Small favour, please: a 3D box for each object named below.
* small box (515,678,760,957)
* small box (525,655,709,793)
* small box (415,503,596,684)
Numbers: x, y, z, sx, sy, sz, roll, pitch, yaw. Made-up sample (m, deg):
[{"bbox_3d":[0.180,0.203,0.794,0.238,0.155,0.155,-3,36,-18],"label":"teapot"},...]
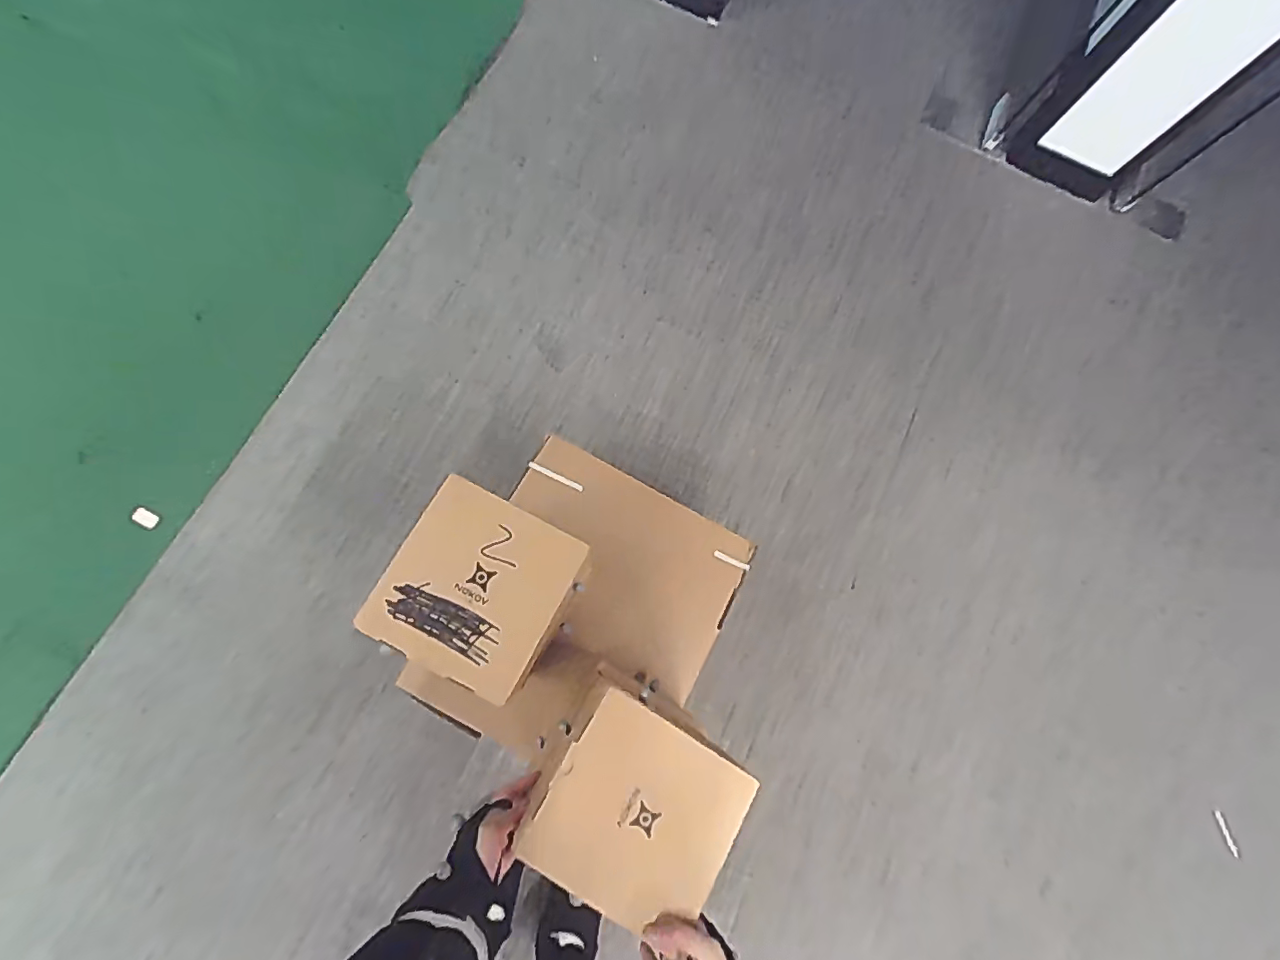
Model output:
[{"bbox_3d":[-0.008,0.328,0.573,0.179,0.176,0.168,32,73,2],"label":"small box"},{"bbox_3d":[-0.033,0.358,0.733,0.168,0.176,0.179,32,73,1],"label":"small box"},{"bbox_3d":[-0.179,0.161,0.765,0.168,0.176,0.179,31,73,3],"label":"small box"}]
